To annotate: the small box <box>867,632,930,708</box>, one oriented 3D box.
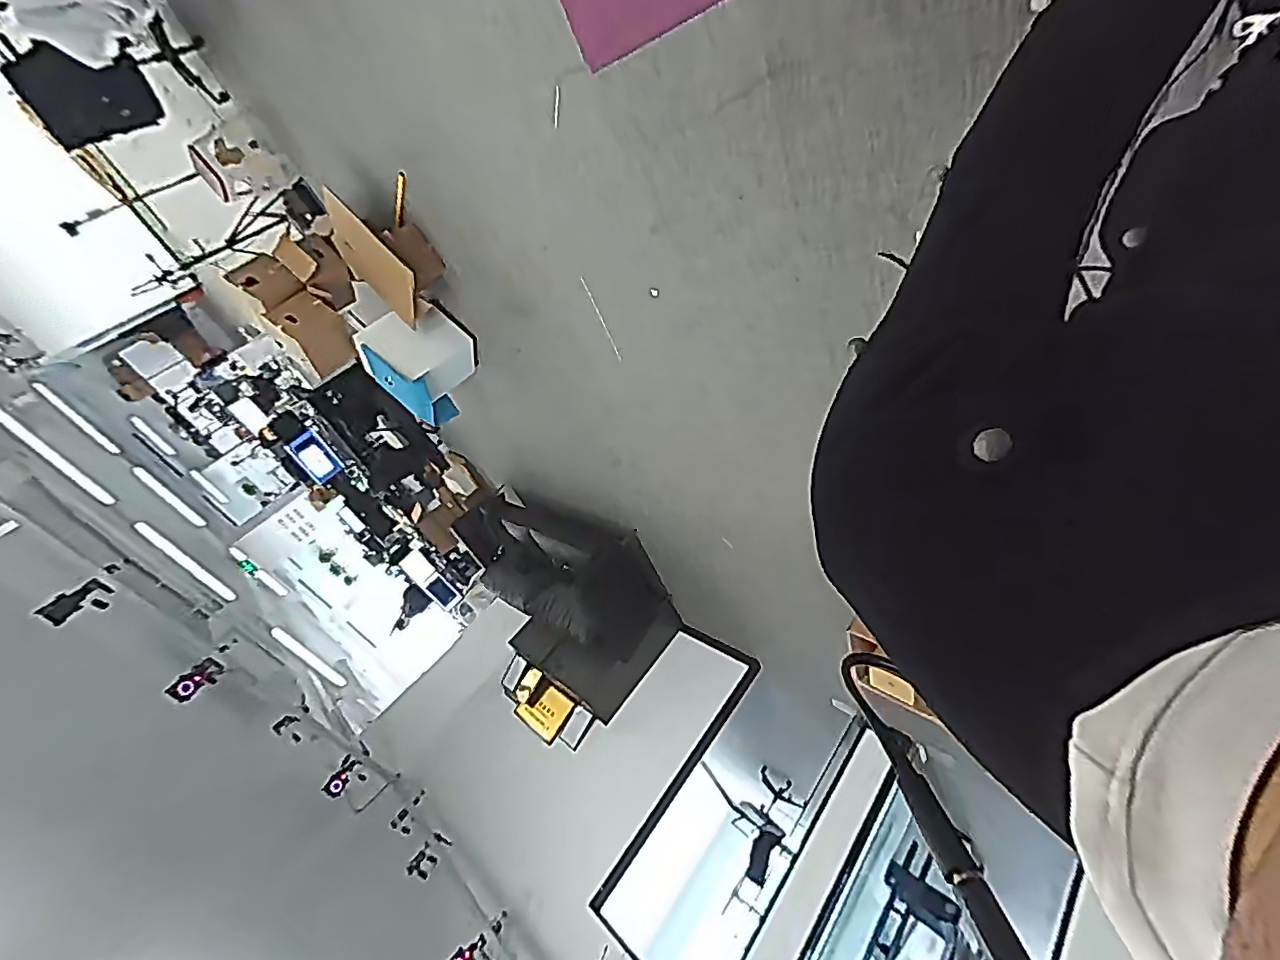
[{"bbox_3d":[0.982,0.717,2.050,0.168,0.176,0.179,20,144,41],"label":"small box"}]
